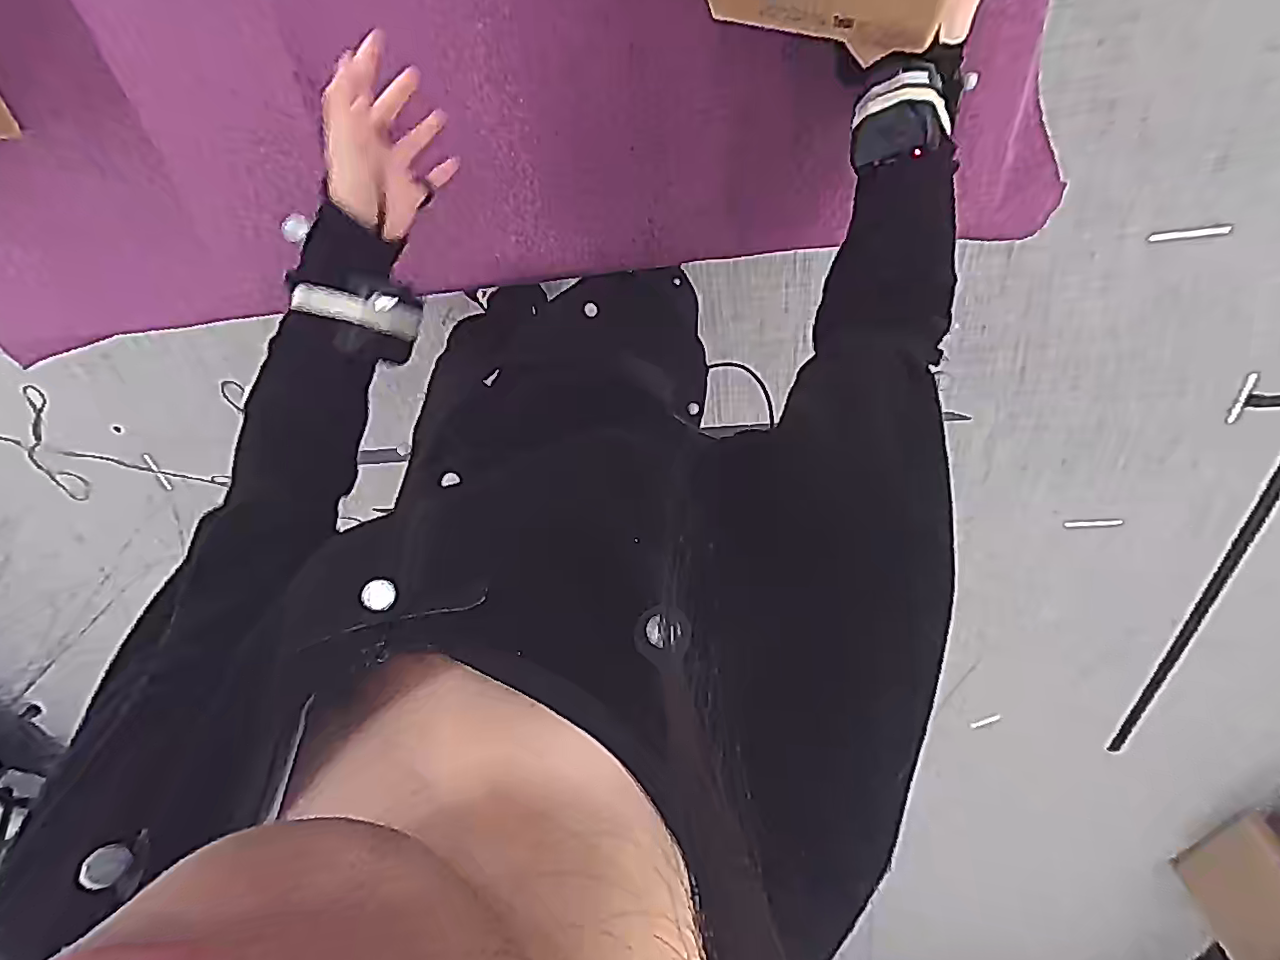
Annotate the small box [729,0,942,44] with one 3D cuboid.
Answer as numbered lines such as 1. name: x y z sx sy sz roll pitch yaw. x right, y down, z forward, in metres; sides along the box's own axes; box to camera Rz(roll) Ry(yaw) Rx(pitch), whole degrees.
1. small box: 0.132 -0.400 0.316 0.168 0.176 0.179 20 110 12
